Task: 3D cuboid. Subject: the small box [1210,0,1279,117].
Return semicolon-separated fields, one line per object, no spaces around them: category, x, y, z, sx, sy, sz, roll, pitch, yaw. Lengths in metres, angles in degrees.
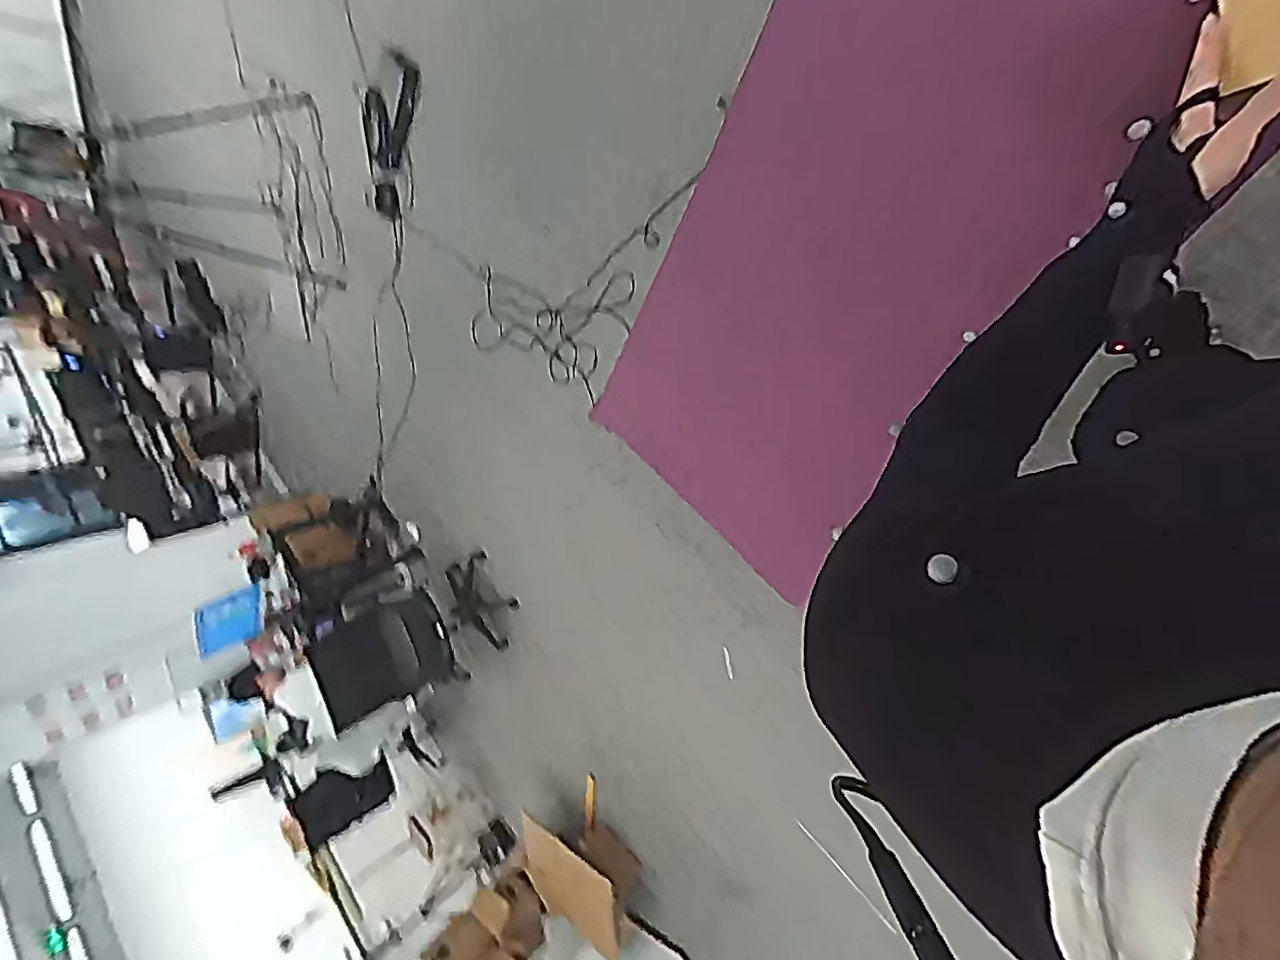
small box;0.583;-0.421;0.433;0.168;0.176;0.179;1;107;48
